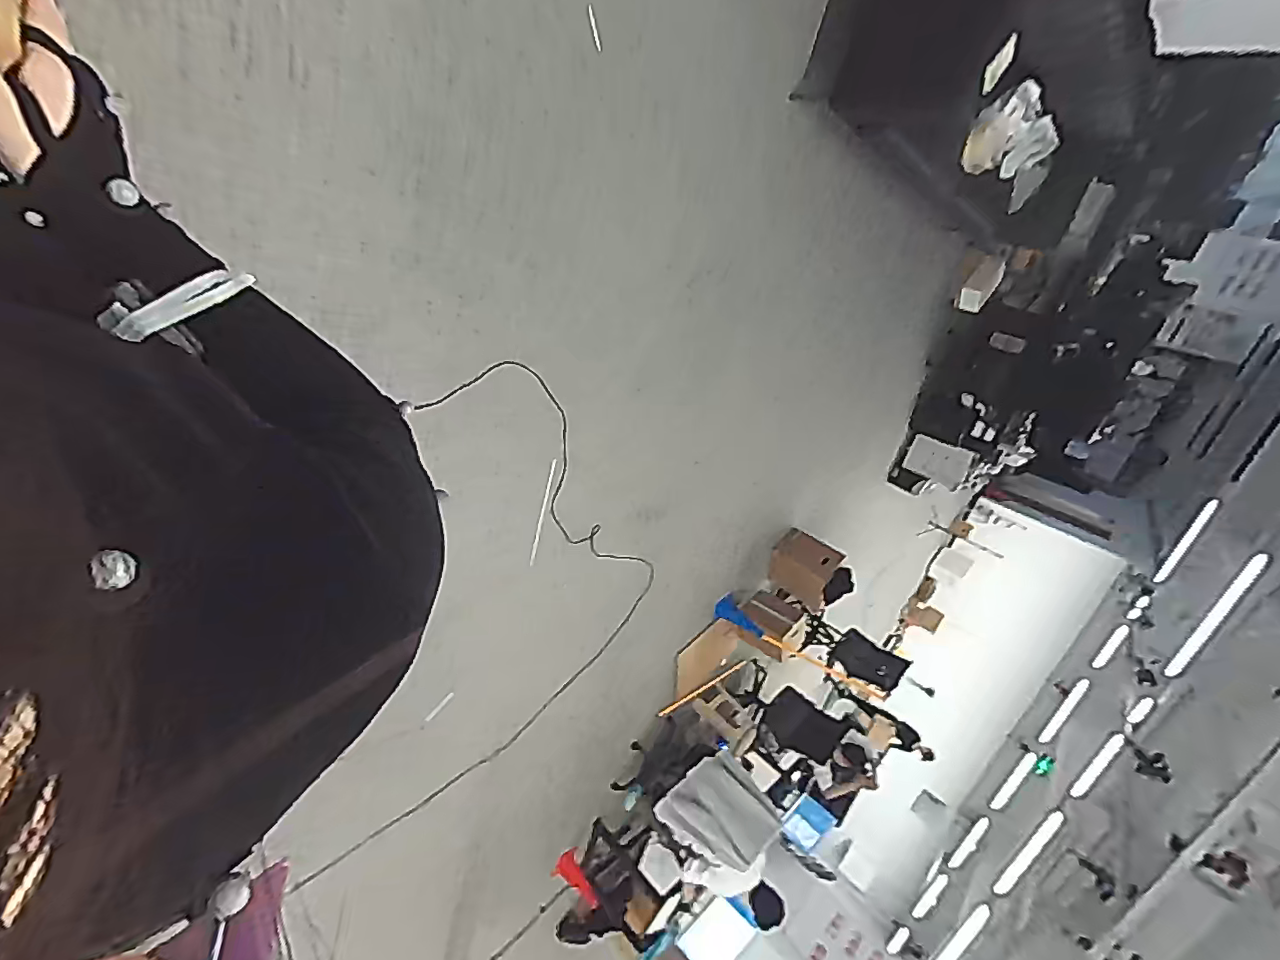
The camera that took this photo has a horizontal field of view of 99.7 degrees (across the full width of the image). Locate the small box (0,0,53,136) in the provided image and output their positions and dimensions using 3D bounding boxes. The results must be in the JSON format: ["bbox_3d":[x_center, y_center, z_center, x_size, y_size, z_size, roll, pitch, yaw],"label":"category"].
[{"bbox_3d":[-0.440,-0.336,0.284,0.168,0.176,0.179,-2,140,-42],"label":"small box"}]
